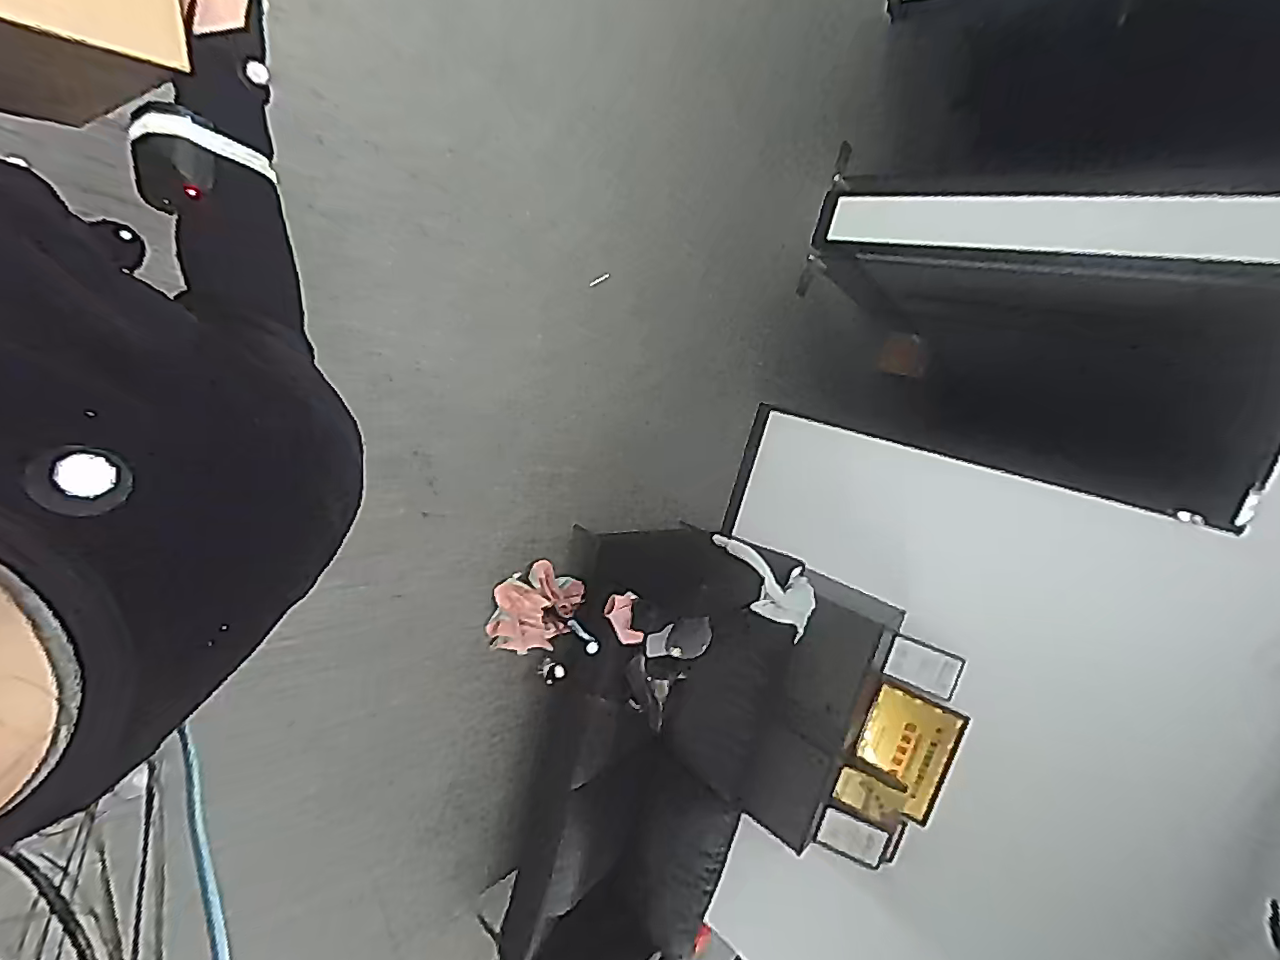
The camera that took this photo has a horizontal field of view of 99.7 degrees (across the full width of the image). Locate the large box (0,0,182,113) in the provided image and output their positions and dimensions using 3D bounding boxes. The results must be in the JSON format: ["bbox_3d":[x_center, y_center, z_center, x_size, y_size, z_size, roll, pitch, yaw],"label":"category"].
[{"bbox_3d":[-0.572,-0.438,0.287,0.408,0.320,0.320,-22,120,-51],"label":"large box"}]
